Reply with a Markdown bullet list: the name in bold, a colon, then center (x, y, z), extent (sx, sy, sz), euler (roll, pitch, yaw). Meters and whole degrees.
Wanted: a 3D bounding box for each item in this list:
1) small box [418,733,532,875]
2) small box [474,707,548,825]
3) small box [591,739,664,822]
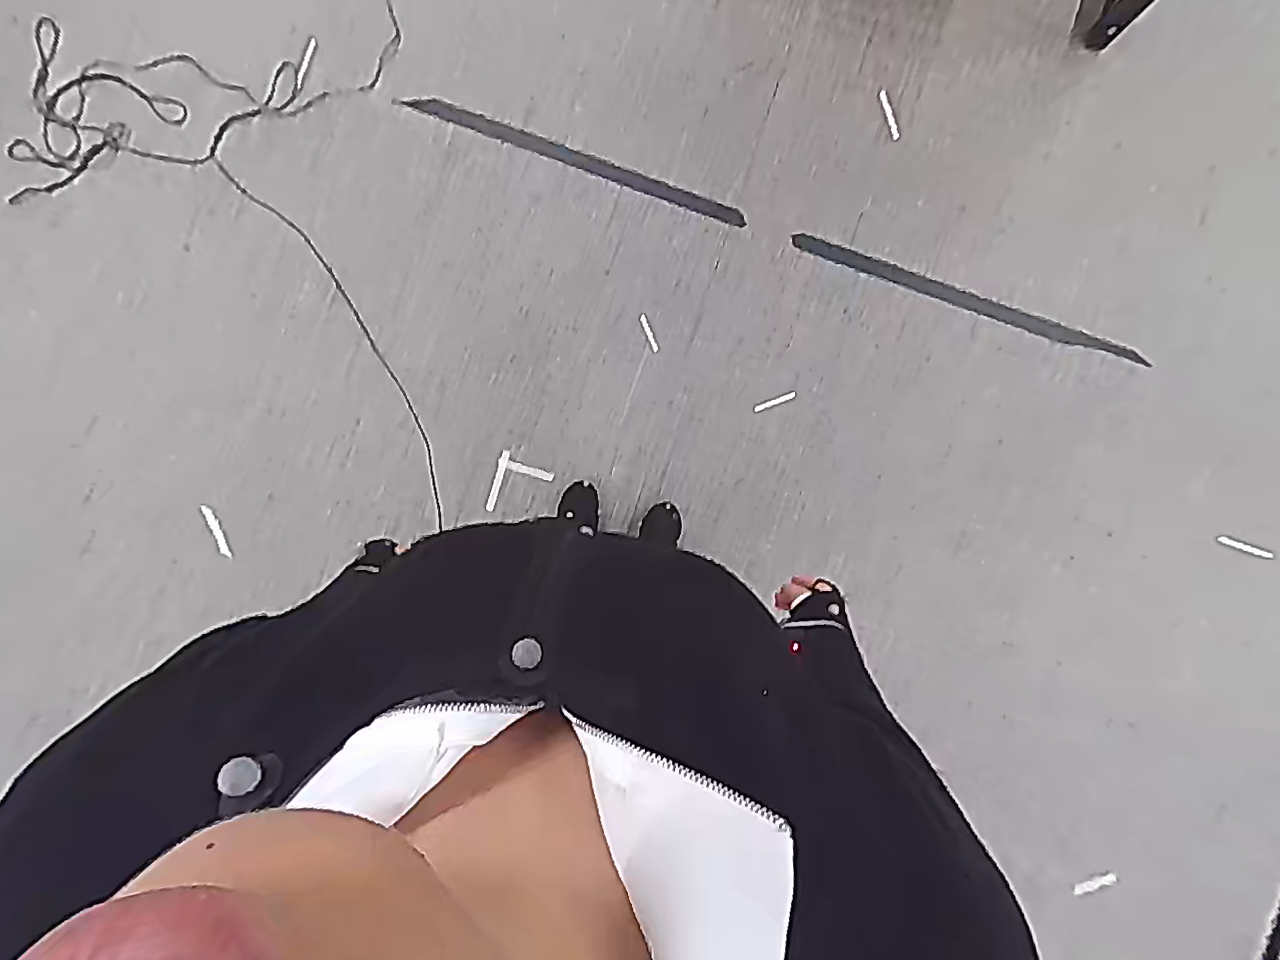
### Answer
- **small box**: center (-0.340, 0.679, 1.152), extent (0.168, 0.176, 0.179), euler (16, 90, -1)
- **small box**: center (-0.333, 0.683, 1.314), extent (0.168, 0.176, 0.179), euler (19, 89, 1)
- **small box**: center (-0.044, 0.769, 1.312), extent (0.168, 0.176, 0.179), euler (18, 89, 1)
